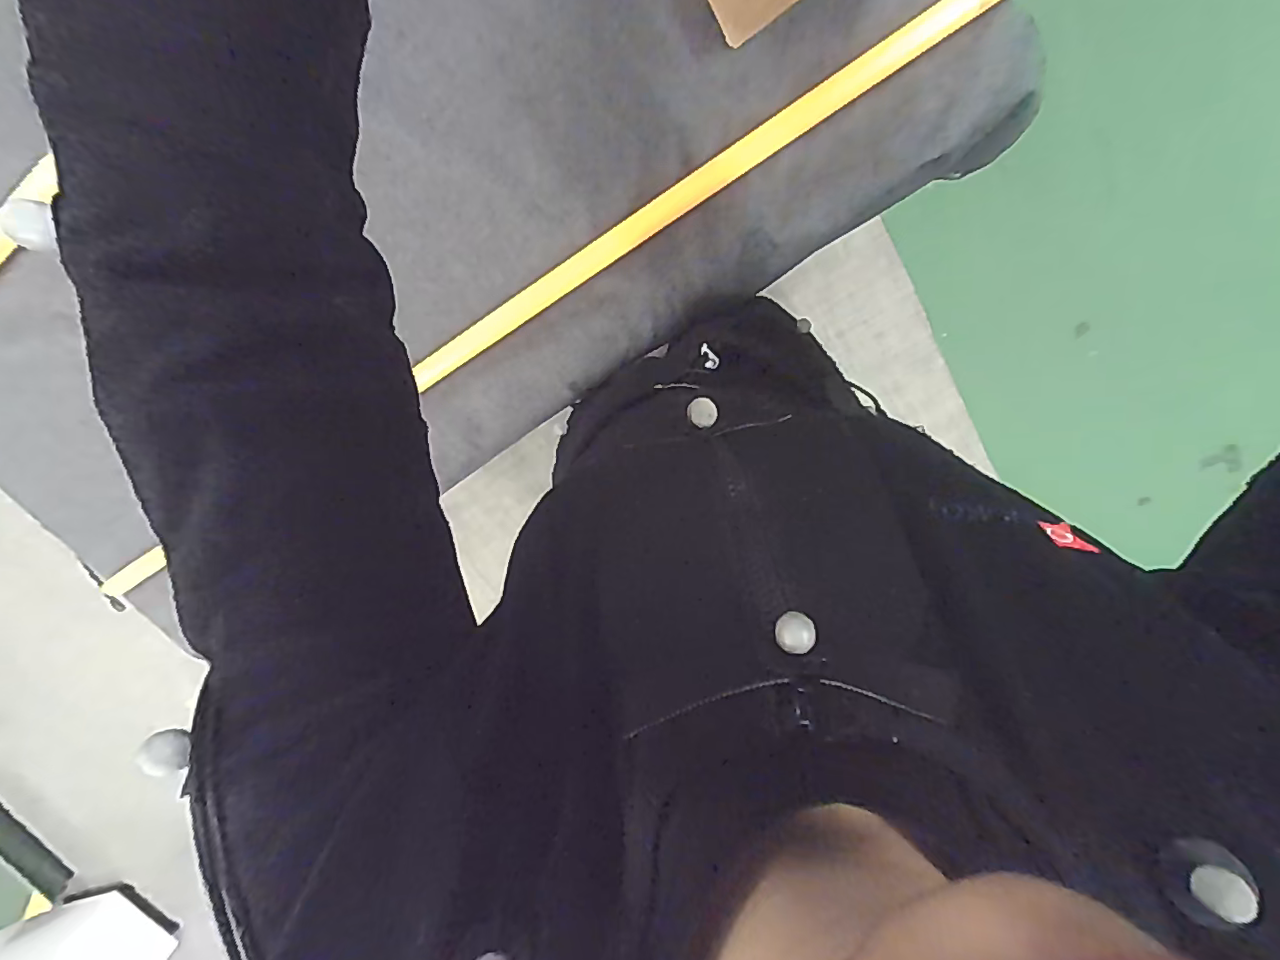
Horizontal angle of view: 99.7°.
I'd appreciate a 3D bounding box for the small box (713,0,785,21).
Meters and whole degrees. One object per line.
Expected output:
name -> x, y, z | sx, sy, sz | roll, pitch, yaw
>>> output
small box -> 0.096, -0.450, 0.349 | 0.168, 0.176, 0.179 | -29, 106, 16
